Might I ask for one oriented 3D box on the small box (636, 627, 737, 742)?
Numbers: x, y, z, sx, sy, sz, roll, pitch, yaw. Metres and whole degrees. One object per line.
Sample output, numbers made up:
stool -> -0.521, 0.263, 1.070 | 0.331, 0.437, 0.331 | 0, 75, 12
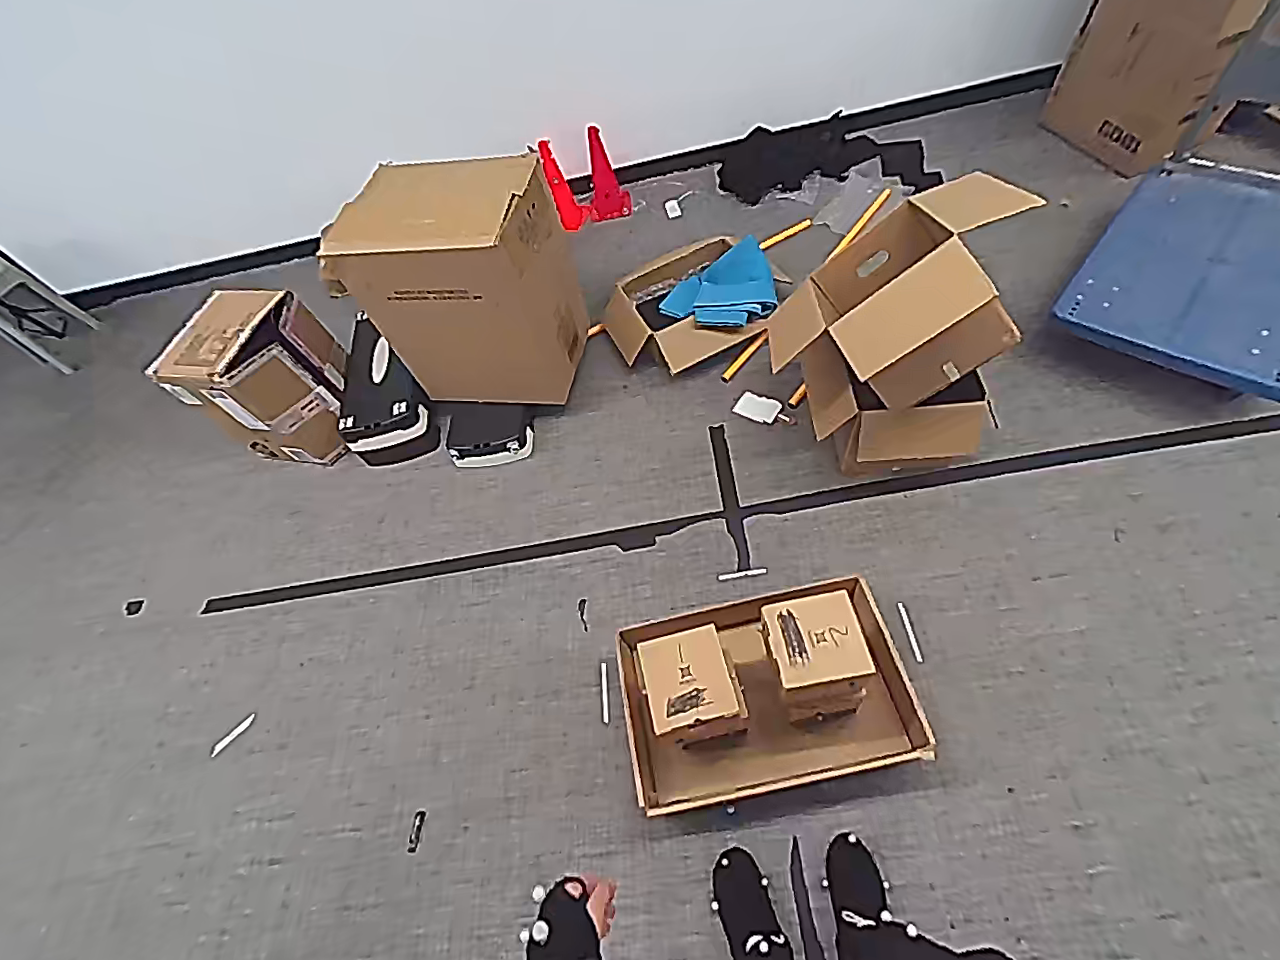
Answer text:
small box -> 0.099, 0.428, 1.117 | 0.168, 0.176, 0.179 | -15, 56, 0

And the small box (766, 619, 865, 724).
small box -> 0.393, 0.446, 1.247 | 0.168, 0.176, 0.179 | -14, 57, 4

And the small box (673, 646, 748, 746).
small box -> 0.141, 0.506, 1.257 | 0.179, 0.176, 0.168 | -14, 56, 1
